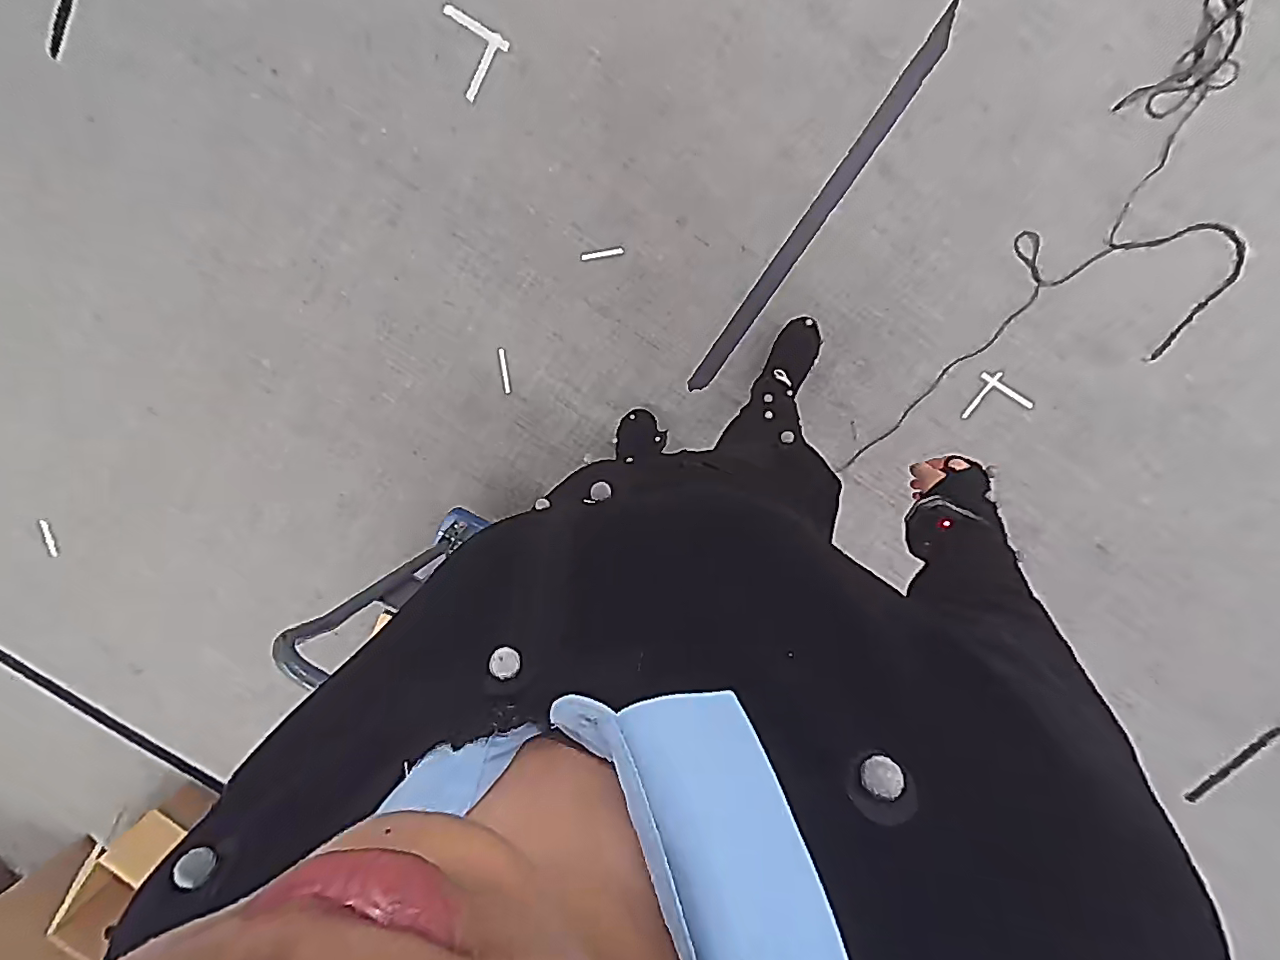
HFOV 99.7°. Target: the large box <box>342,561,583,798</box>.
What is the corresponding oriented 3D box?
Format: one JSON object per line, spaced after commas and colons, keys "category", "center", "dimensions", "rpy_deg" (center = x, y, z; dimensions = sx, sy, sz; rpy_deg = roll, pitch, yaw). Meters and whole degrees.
{"category": "large box", "center": [-0.397, 0.452, 1.293], "dimensions": [0.408, 0.320, 0.320], "rpy_deg": [26, 102, 0]}
